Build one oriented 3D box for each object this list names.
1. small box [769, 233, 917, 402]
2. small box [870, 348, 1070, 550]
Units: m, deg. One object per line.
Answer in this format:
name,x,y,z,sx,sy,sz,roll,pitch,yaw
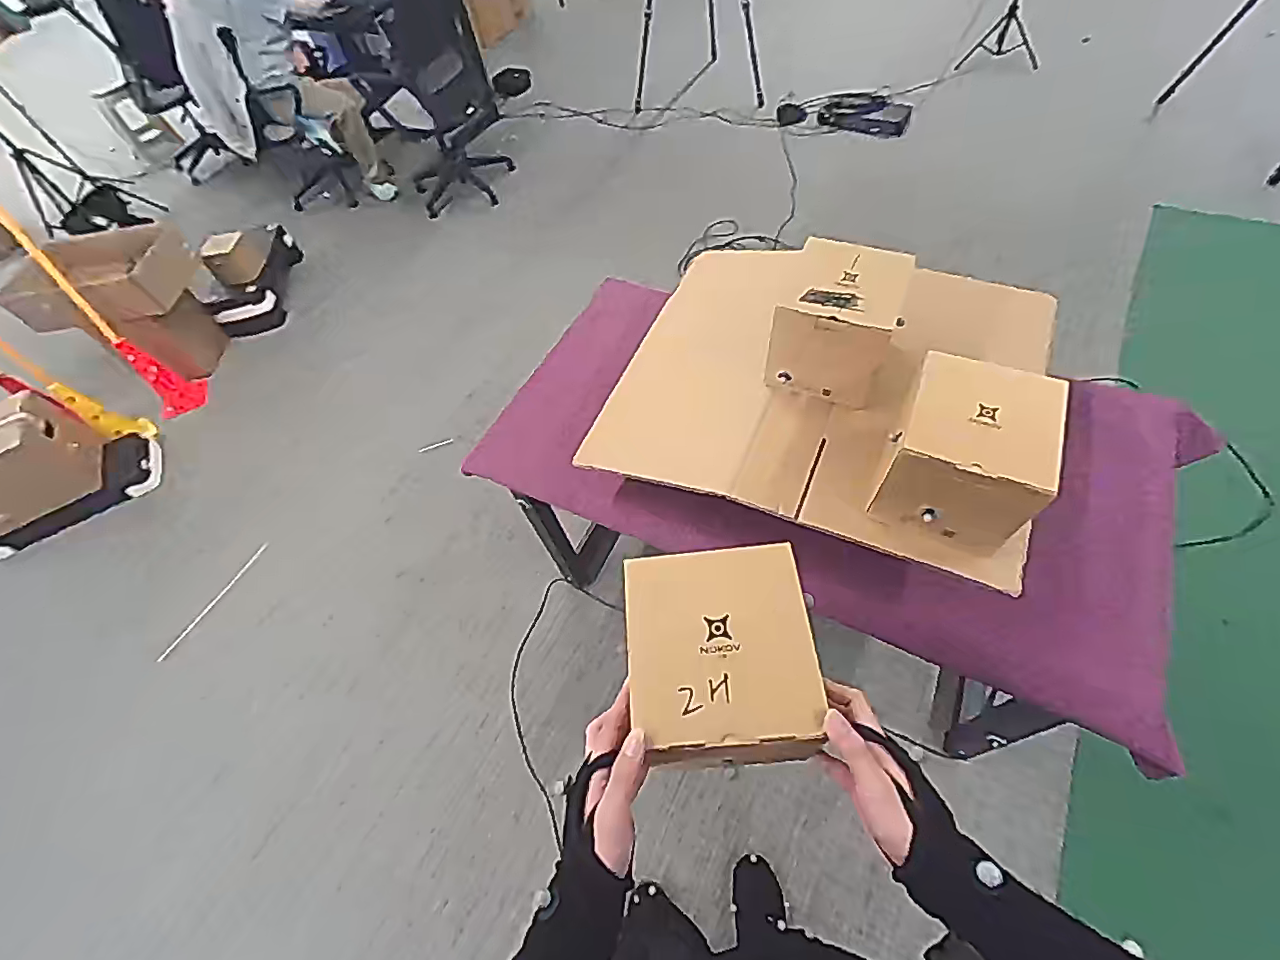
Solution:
small box,0.310,-0.251,0.854,0.168,0.176,0.179,19,62,17
small box,0.422,-0.038,0.712,0.168,0.176,0.179,20,63,17
